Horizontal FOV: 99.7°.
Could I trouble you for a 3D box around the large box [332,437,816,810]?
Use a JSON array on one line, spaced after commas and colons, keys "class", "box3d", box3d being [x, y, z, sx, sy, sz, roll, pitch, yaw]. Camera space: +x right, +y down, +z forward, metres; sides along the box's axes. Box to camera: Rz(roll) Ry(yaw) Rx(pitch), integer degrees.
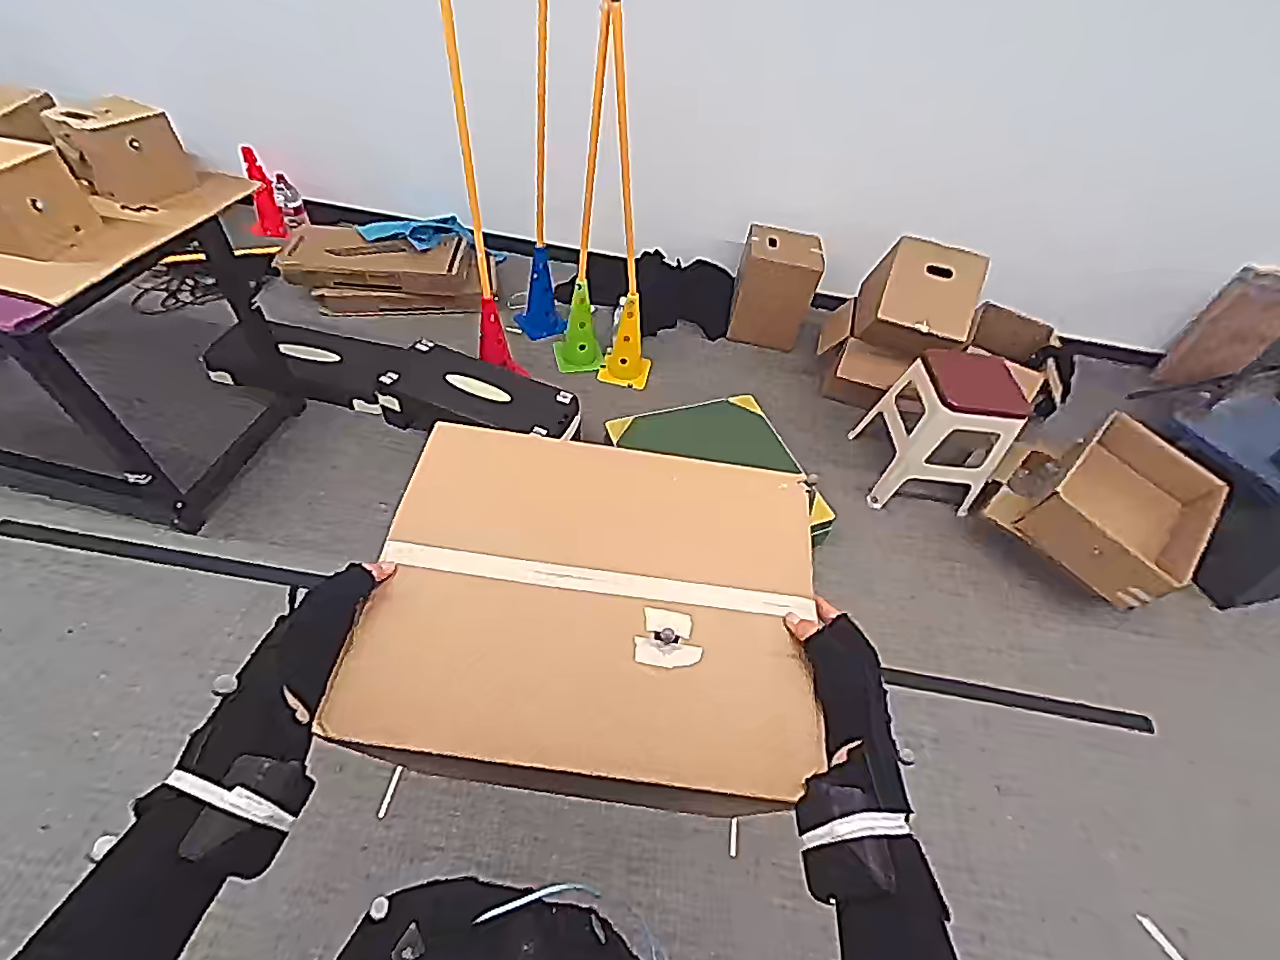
[{"class": "large box", "box3d": [-0.053, 0.185, 0.640, 0.408, 0.320, 0.320, 9, 57, -1]}]
